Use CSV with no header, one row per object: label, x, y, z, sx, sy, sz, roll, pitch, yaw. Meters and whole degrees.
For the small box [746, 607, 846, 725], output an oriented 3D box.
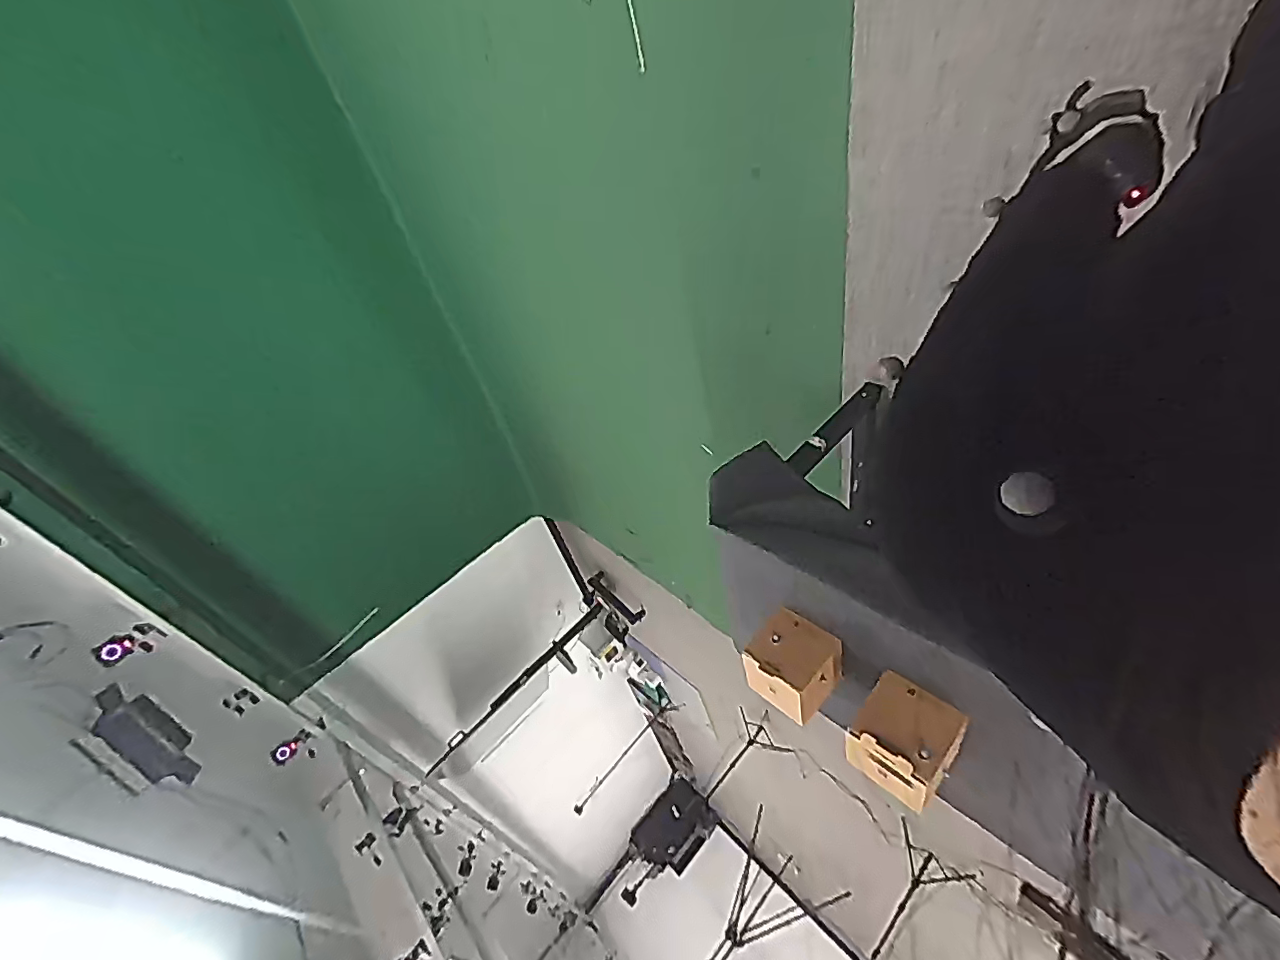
small box,0.382,0.443,1.309,0.168,0.176,0.179,29,150,42
